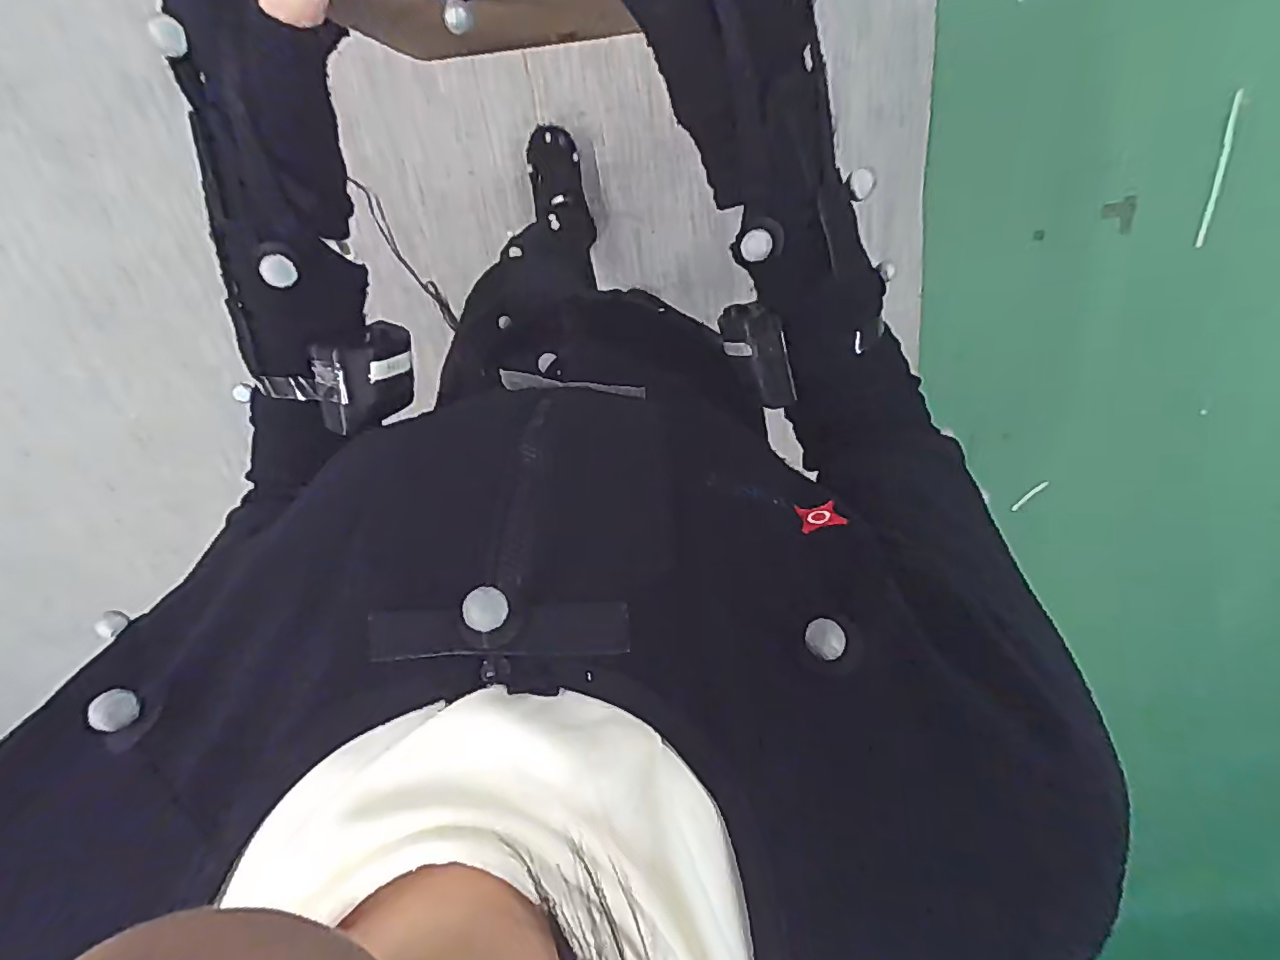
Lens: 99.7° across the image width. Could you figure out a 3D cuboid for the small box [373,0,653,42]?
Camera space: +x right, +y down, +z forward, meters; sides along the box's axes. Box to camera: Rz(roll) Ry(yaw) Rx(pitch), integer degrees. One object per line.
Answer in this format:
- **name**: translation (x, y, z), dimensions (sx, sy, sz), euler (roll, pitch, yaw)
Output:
- **small box**: translation (-0.075, -0.326, 0.235), dimensions (0.168, 0.176, 0.179), euler (-6, 120, 2)
